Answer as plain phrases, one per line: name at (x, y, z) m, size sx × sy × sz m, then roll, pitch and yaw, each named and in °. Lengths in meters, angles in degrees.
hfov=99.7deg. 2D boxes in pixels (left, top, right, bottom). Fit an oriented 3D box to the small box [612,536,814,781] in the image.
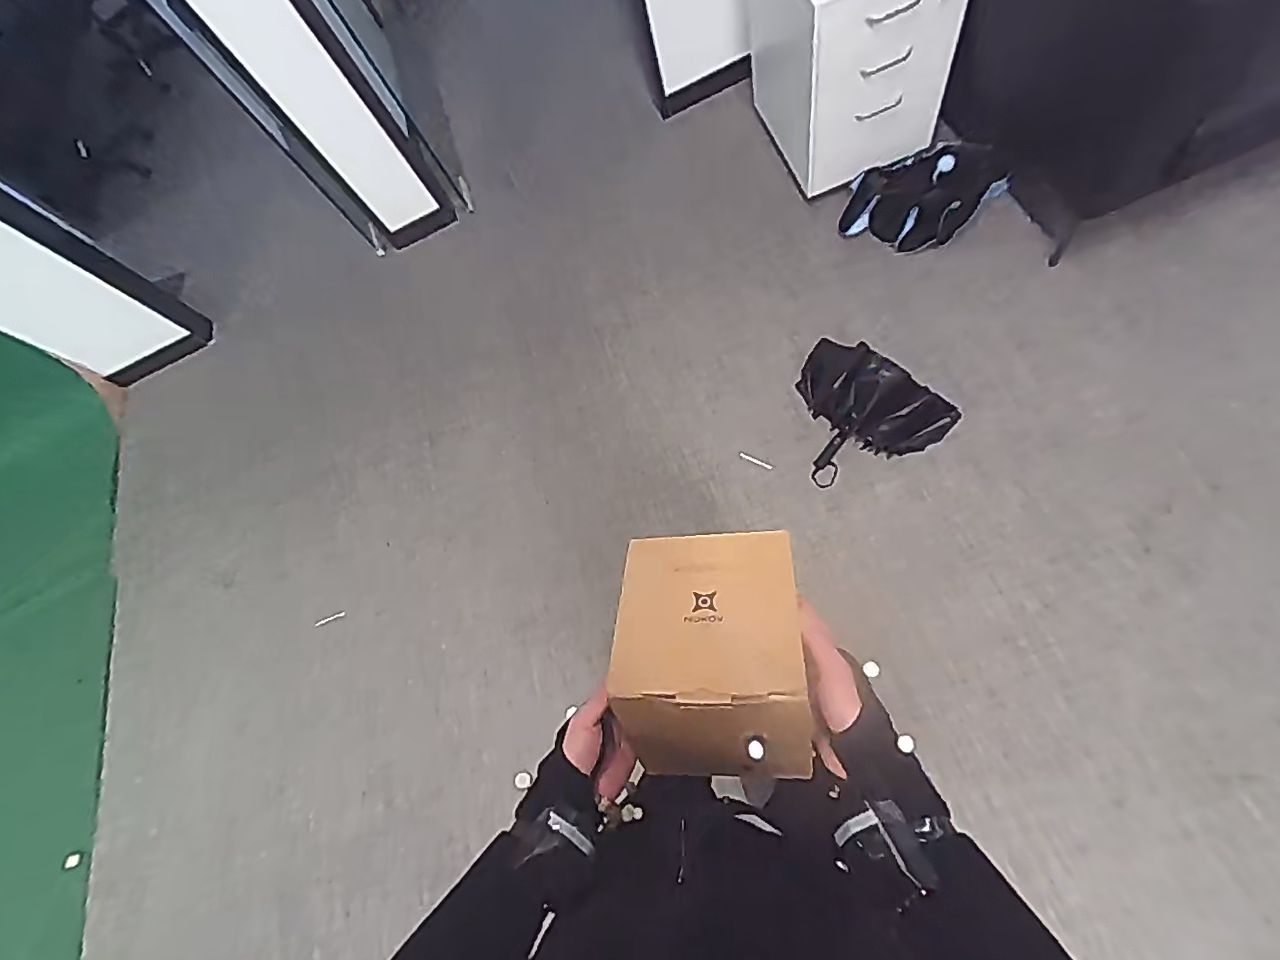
small box at (0.081, 0.181, 0.545) m, size 0.168 × 0.176 × 0.179 m, roll -5°, pitch 39°, yaw 12°
